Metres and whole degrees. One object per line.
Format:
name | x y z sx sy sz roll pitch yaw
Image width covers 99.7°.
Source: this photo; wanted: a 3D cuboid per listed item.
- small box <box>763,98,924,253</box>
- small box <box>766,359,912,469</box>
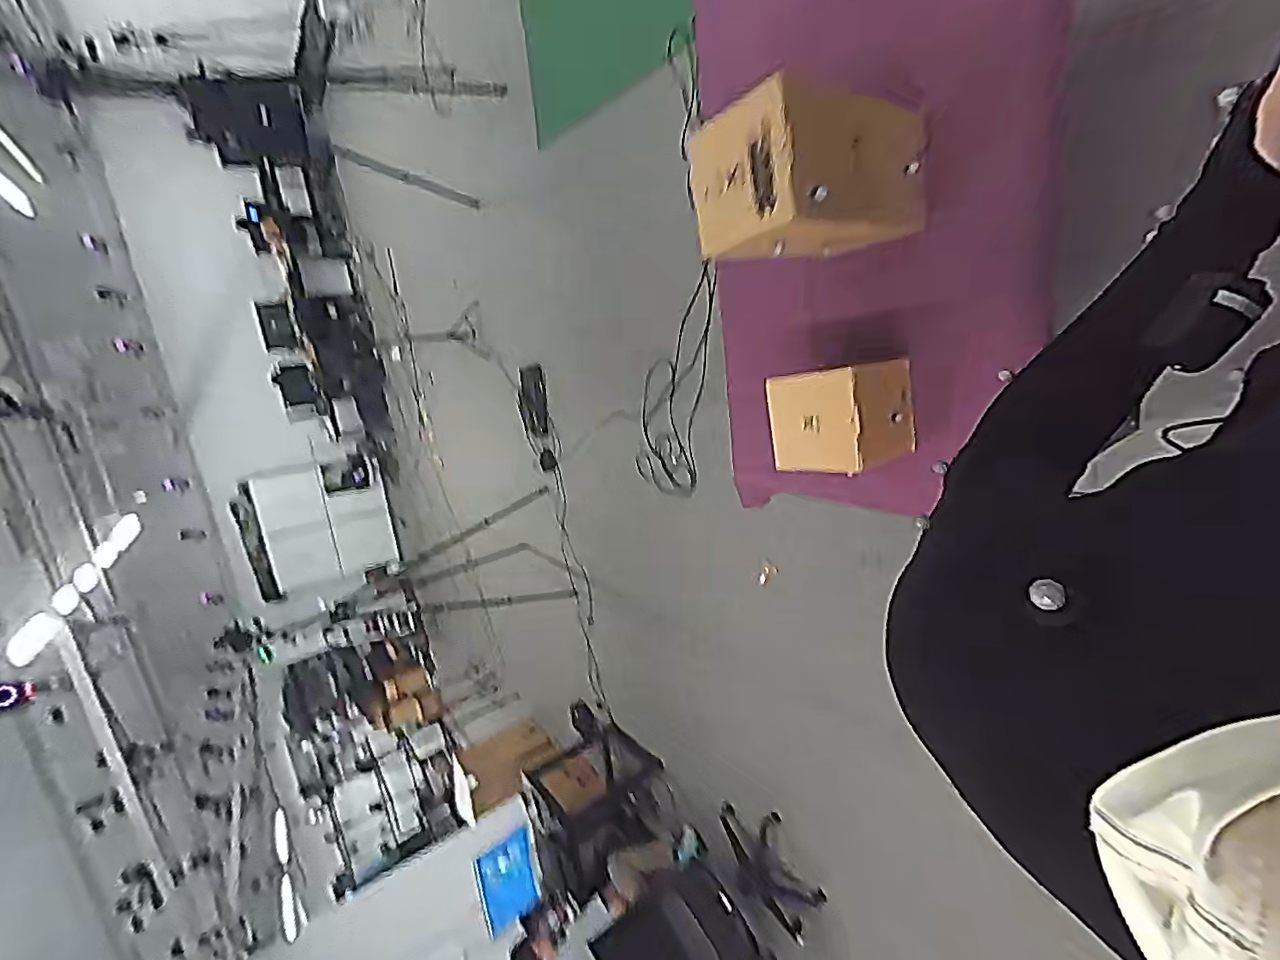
small box | 0.322 -0.466 0.861 0.179 0.176 0.168 8 110 54
small box | 0.353 -0.117 0.962 0.179 0.176 0.168 3 105 54
